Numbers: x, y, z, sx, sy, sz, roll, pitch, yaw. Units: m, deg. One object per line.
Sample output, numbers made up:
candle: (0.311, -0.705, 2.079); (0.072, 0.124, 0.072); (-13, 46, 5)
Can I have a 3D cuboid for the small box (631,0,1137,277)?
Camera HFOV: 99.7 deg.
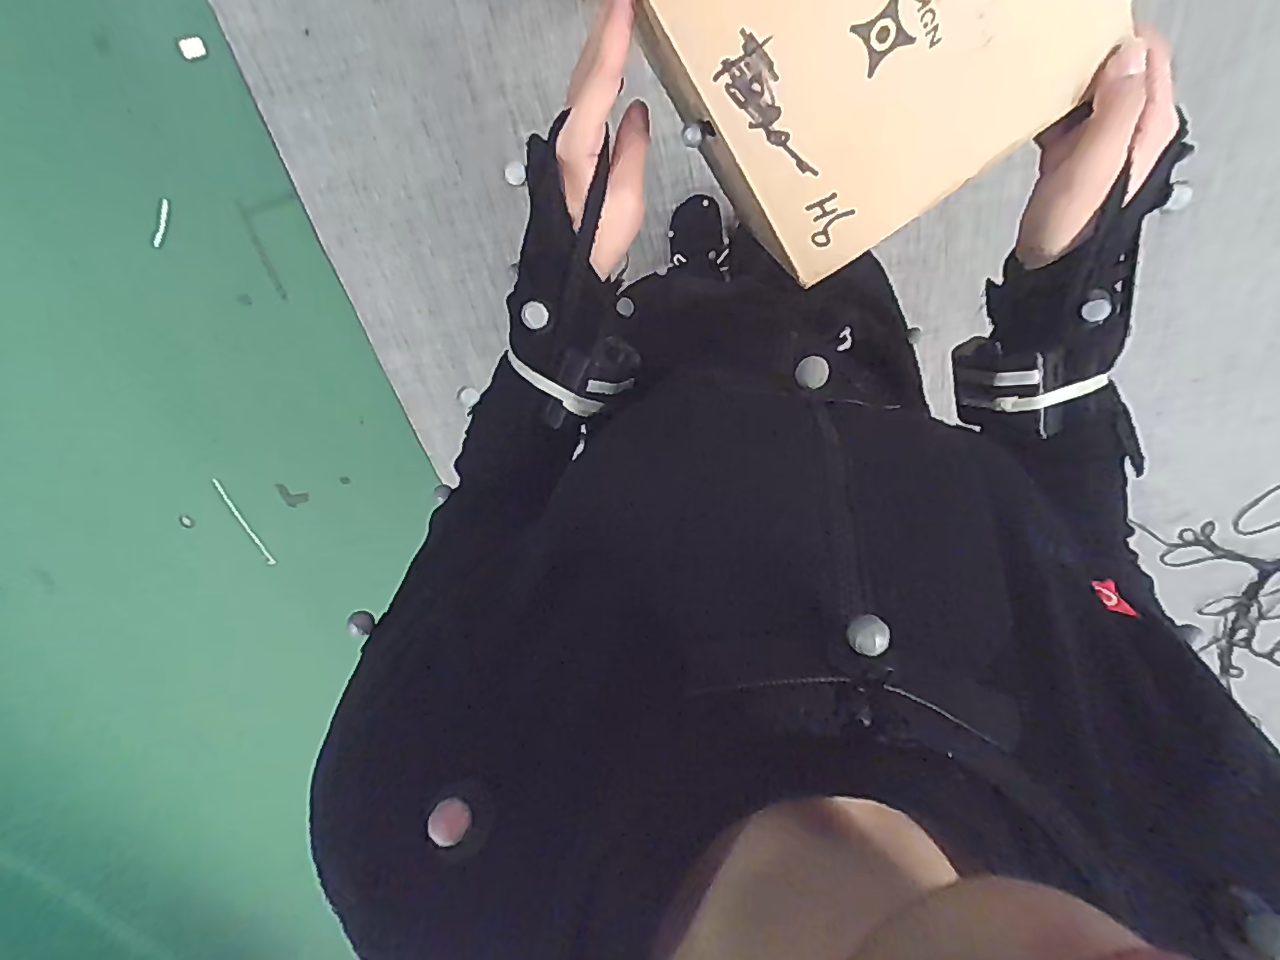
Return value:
small box: (0.109, -0.254, 0.299); (0.179, 0.176, 0.168); (-32, 123, 18)
